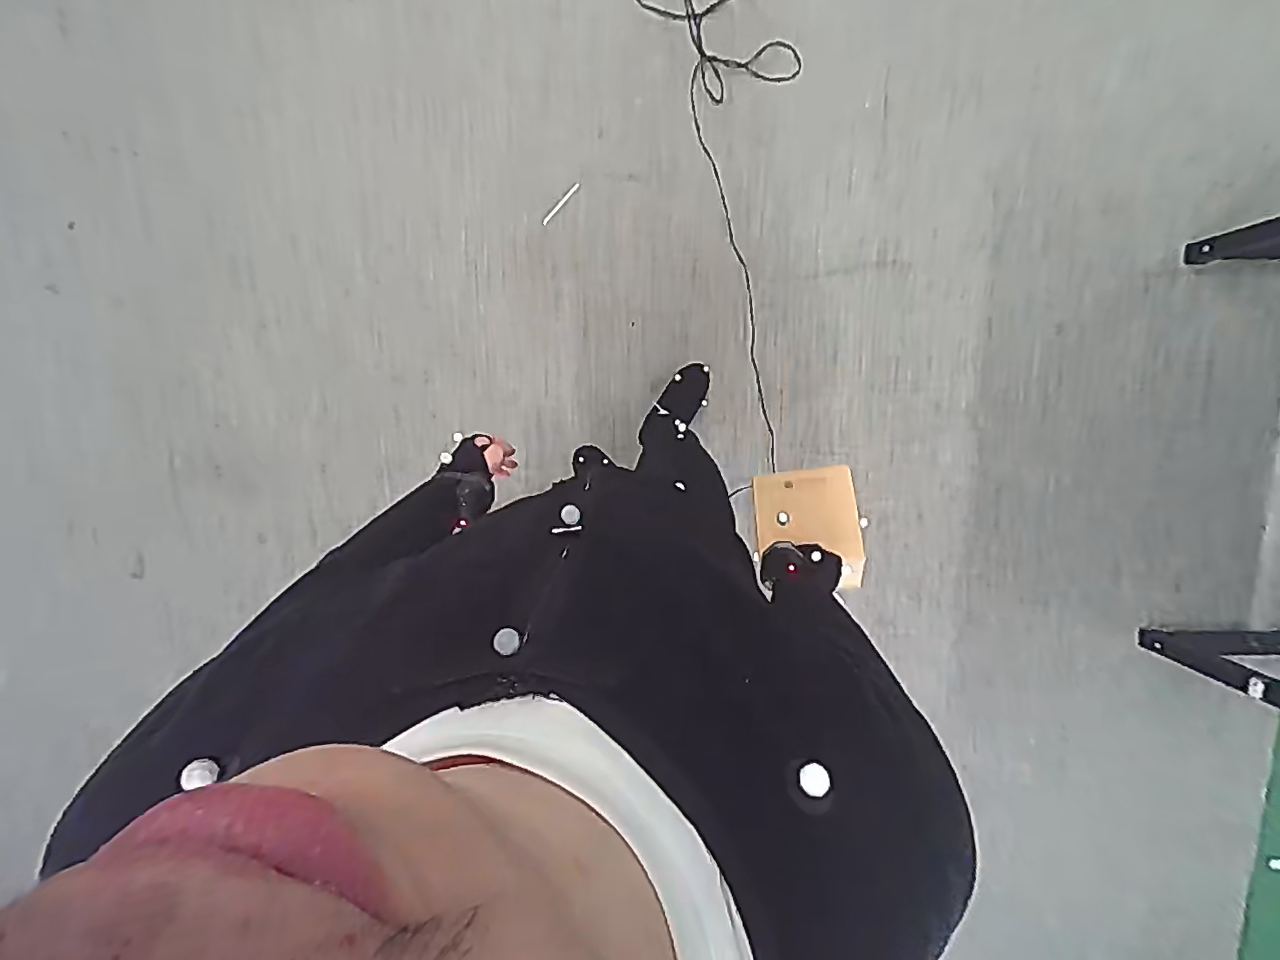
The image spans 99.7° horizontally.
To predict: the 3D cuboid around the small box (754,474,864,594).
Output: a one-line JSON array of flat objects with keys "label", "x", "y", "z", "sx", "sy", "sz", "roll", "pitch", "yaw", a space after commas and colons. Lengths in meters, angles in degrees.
[{"label": "small box", "x": 0.301, "y": 0.097, "z": 0.974, "sx": 0.168, "sy": 0.179, "sz": 0.176, "roll": -6, "pitch": 61, "yaw": 17}]
